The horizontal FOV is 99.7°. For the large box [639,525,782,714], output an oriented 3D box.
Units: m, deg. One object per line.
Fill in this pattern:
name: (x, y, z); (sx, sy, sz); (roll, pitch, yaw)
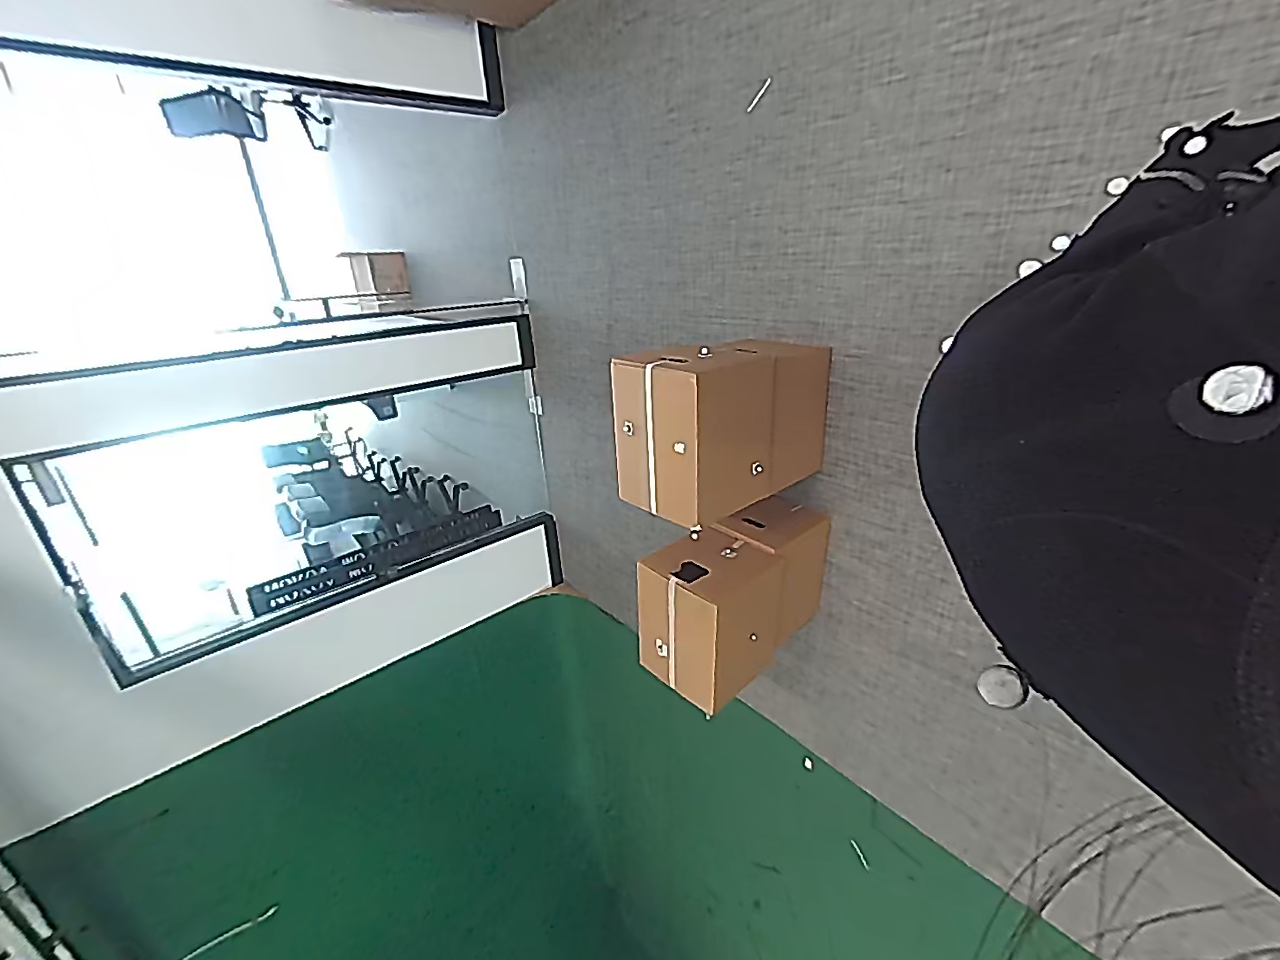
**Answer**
large box: (0.219, 0.410, 1.672); (0.320, 0.320, 0.408); (23, 125, 42)
